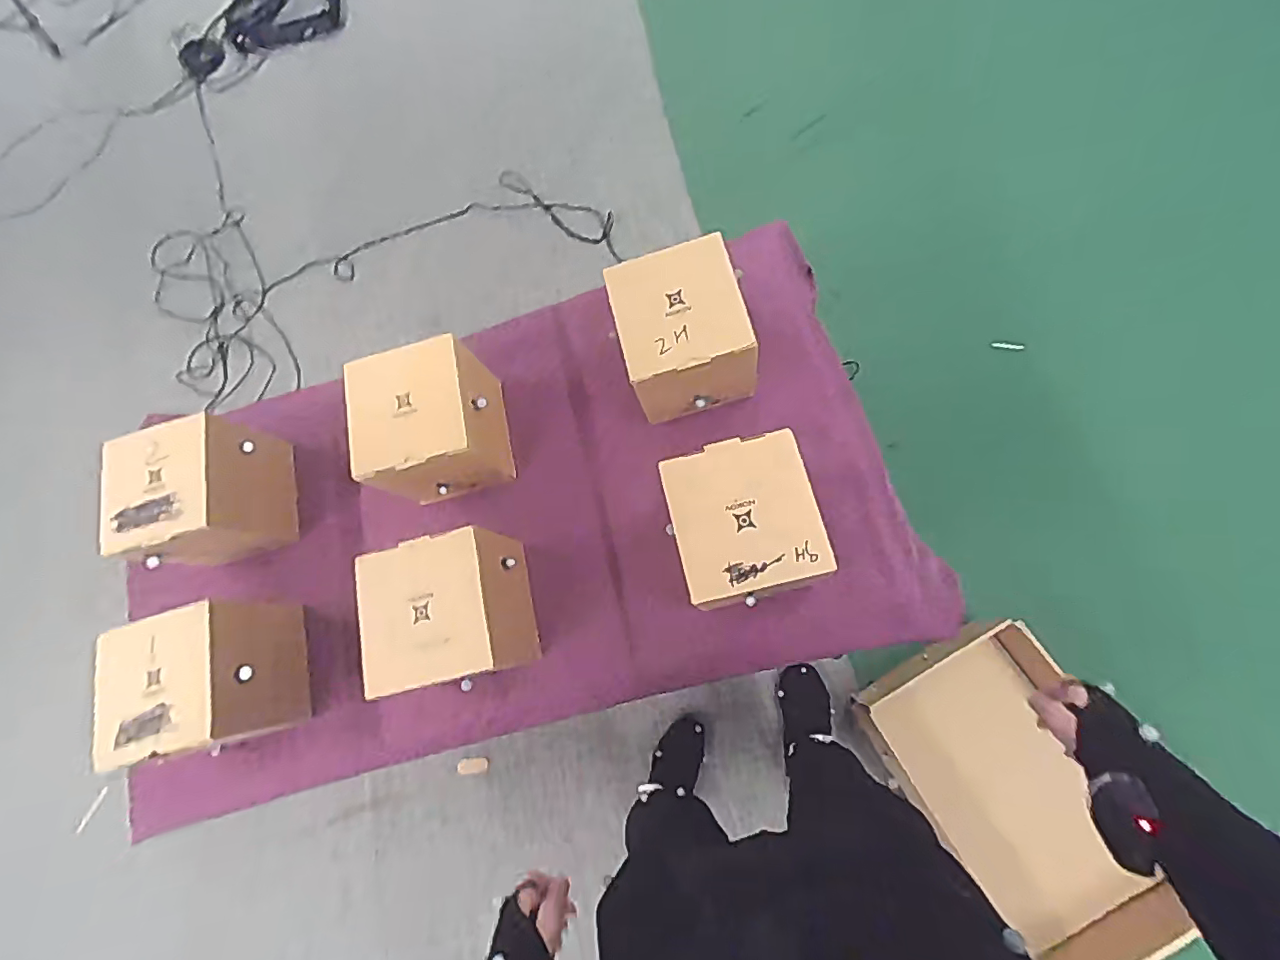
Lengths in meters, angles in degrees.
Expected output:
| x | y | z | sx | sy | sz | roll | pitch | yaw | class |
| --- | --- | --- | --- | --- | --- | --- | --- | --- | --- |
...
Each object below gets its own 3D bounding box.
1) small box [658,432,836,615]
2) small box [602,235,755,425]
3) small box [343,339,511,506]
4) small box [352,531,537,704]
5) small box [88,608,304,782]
| x | y | z | sx | sy | sz | roll | pitch | yaw | class |
| --- | --- | --- | --- | --- | --- | --- | --- | --- | --- |
| 0.129 | 0.065 | 0.686 | 0.168 | 0.176 | 0.179 | -15 | 71 | 6 | small box |
| 0.058 | -0.201 | 0.767 | 0.168 | 0.176 | 0.179 | -16 | 74 | 7 | small box |
| -0.306 | -0.075 | 0.799 | 0.168 | 0.176 | 0.179 | -15 | 75 | 5 | small box |
| -0.252 | 0.183 | 0.721 | 0.168 | 0.176 | 0.179 | -15 | 73 | 6 | small box |
| -0.599 | 0.286 | 0.750 | 0.168 | 0.176 | 0.179 | -17 | 72 | 4 | small box |
